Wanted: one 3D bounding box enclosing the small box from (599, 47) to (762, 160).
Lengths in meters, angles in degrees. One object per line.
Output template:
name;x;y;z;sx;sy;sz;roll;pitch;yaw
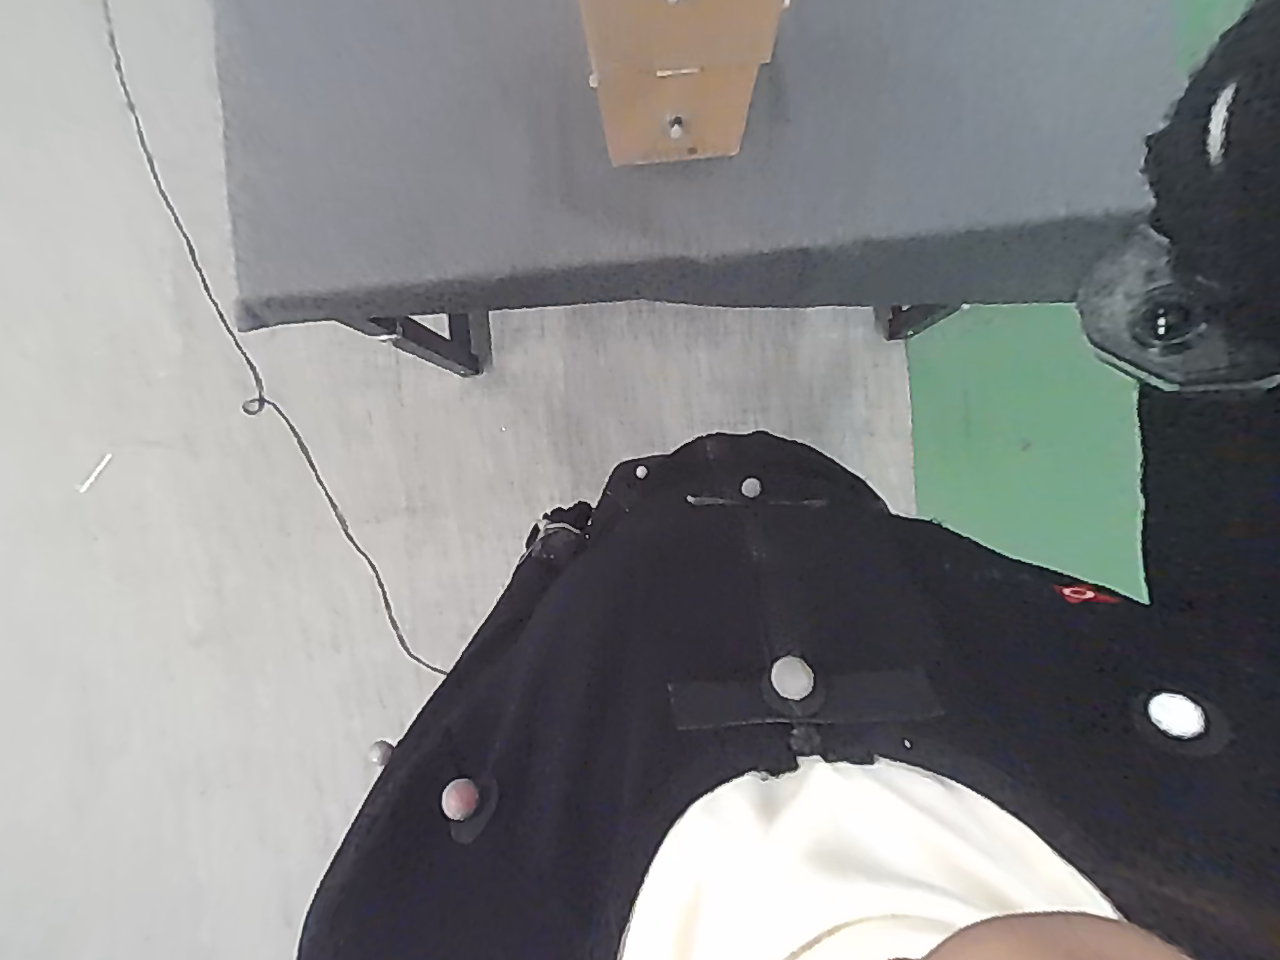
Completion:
small box;0.042;-0.494;0.616;0.168;0.176;0.179;-5;91;4

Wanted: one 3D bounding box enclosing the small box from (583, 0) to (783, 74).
small box;0.037;-0.483;0.451;0.179;0.176;0.168;-2;91;5
